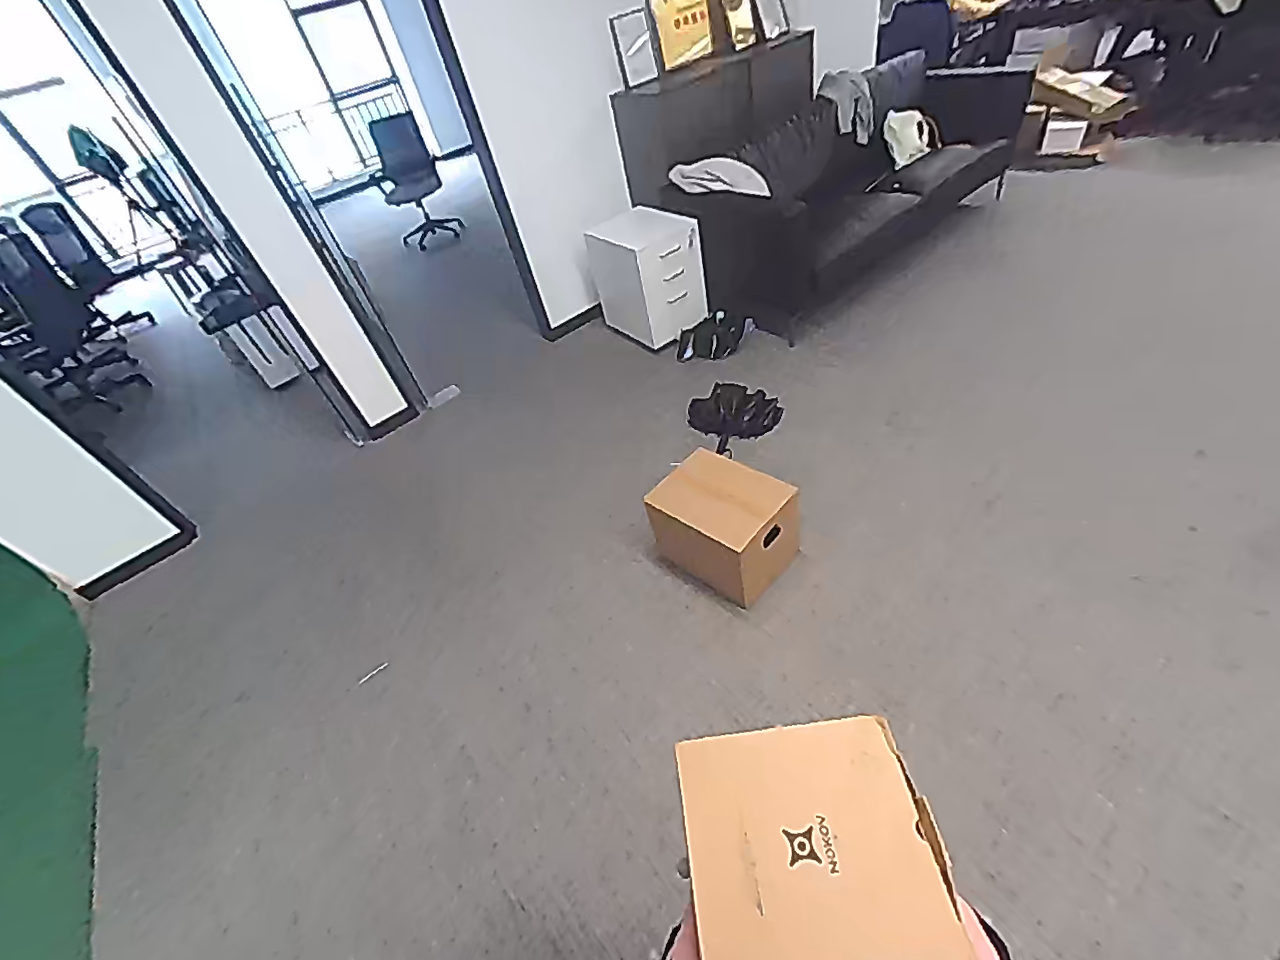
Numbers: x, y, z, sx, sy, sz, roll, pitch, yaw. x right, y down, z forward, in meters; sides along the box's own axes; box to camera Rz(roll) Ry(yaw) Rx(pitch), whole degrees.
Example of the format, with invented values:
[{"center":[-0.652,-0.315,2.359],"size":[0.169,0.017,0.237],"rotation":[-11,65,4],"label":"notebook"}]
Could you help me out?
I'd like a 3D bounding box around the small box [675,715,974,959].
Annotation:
[{"center":[0.131,0.317,0.451],"size":[0.179,0.176,0.168],"rotation":[-10,47,3],"label":"small box"}]
